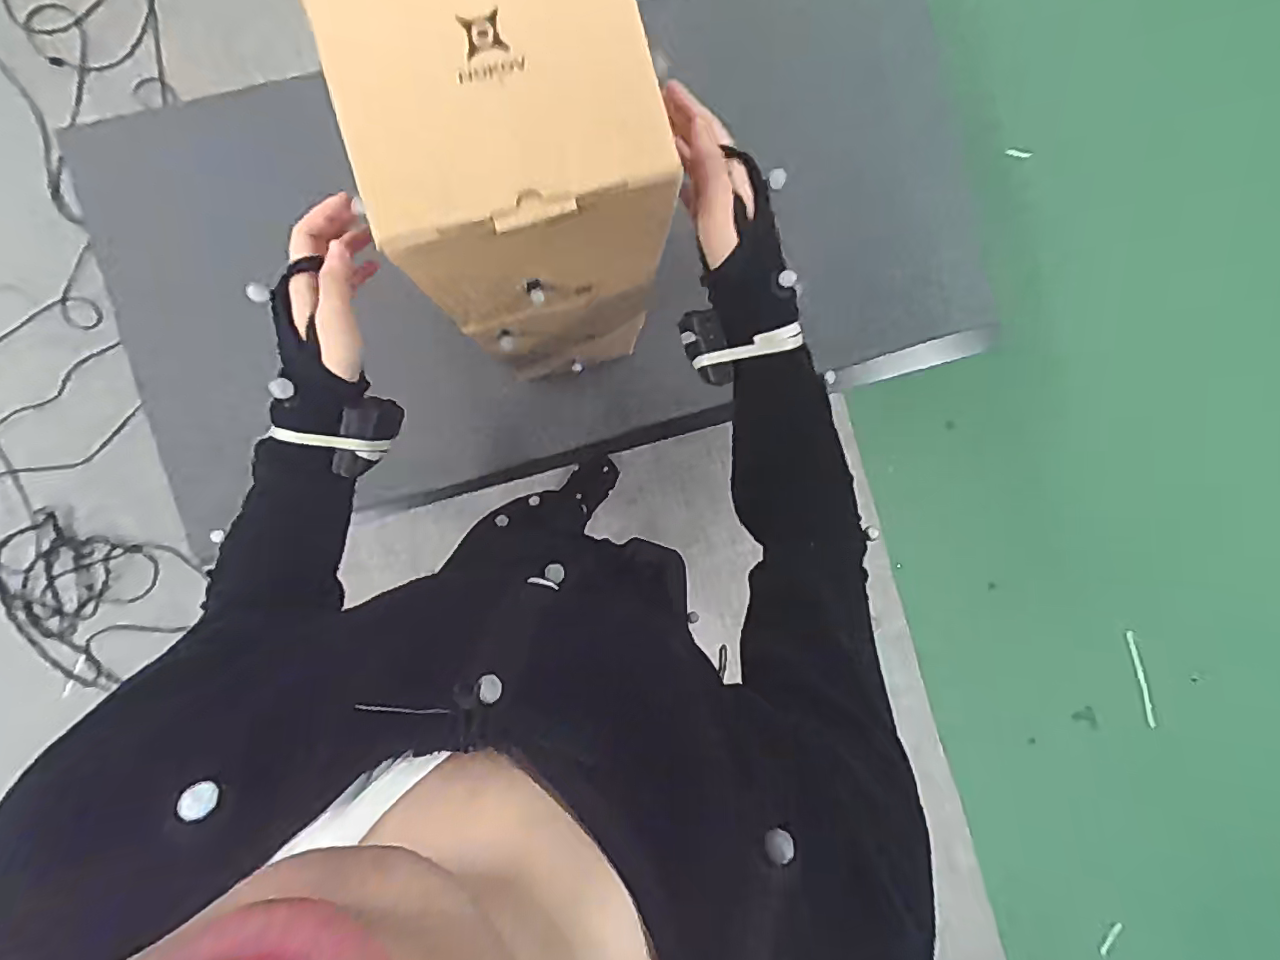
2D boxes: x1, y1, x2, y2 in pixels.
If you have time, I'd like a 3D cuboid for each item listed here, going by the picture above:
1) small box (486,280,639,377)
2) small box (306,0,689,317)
[{"bbox_3d":[-0.105,-0.241,0.669,0.168,0.176,0.179,-15,92,-3],"label":"small box"},{"bbox_3d":[-0.082,-0.228,0.344,0.168,0.176,0.179,-17,92,-3],"label":"small box"}]
